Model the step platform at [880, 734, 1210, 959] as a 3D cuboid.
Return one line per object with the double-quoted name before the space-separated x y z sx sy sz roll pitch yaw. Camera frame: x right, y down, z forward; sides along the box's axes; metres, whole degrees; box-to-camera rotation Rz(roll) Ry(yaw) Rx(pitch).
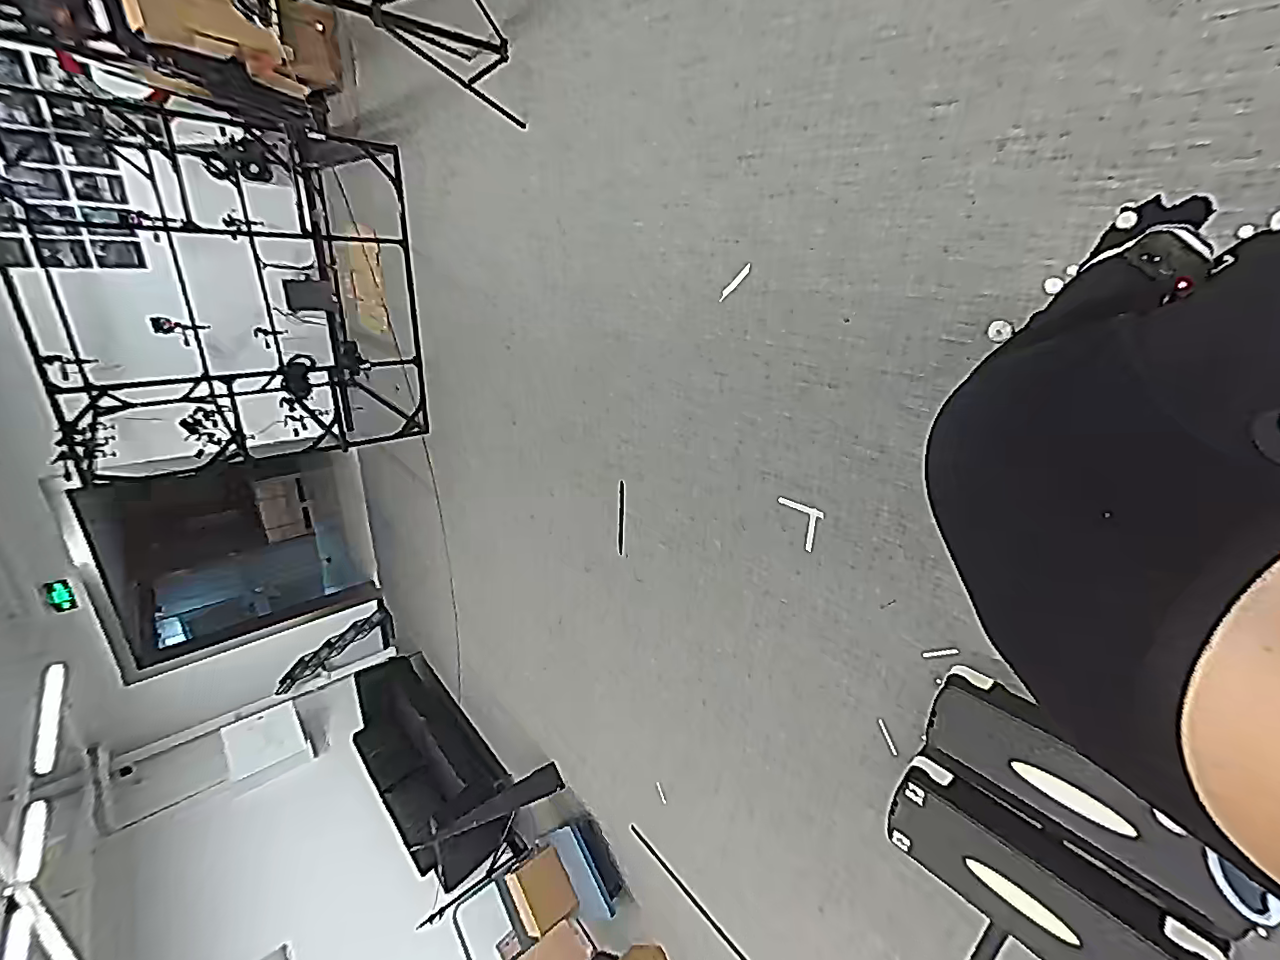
"step platform" 1.007 1.017 1.438 0.684 0.204 0.286 25 122 45
